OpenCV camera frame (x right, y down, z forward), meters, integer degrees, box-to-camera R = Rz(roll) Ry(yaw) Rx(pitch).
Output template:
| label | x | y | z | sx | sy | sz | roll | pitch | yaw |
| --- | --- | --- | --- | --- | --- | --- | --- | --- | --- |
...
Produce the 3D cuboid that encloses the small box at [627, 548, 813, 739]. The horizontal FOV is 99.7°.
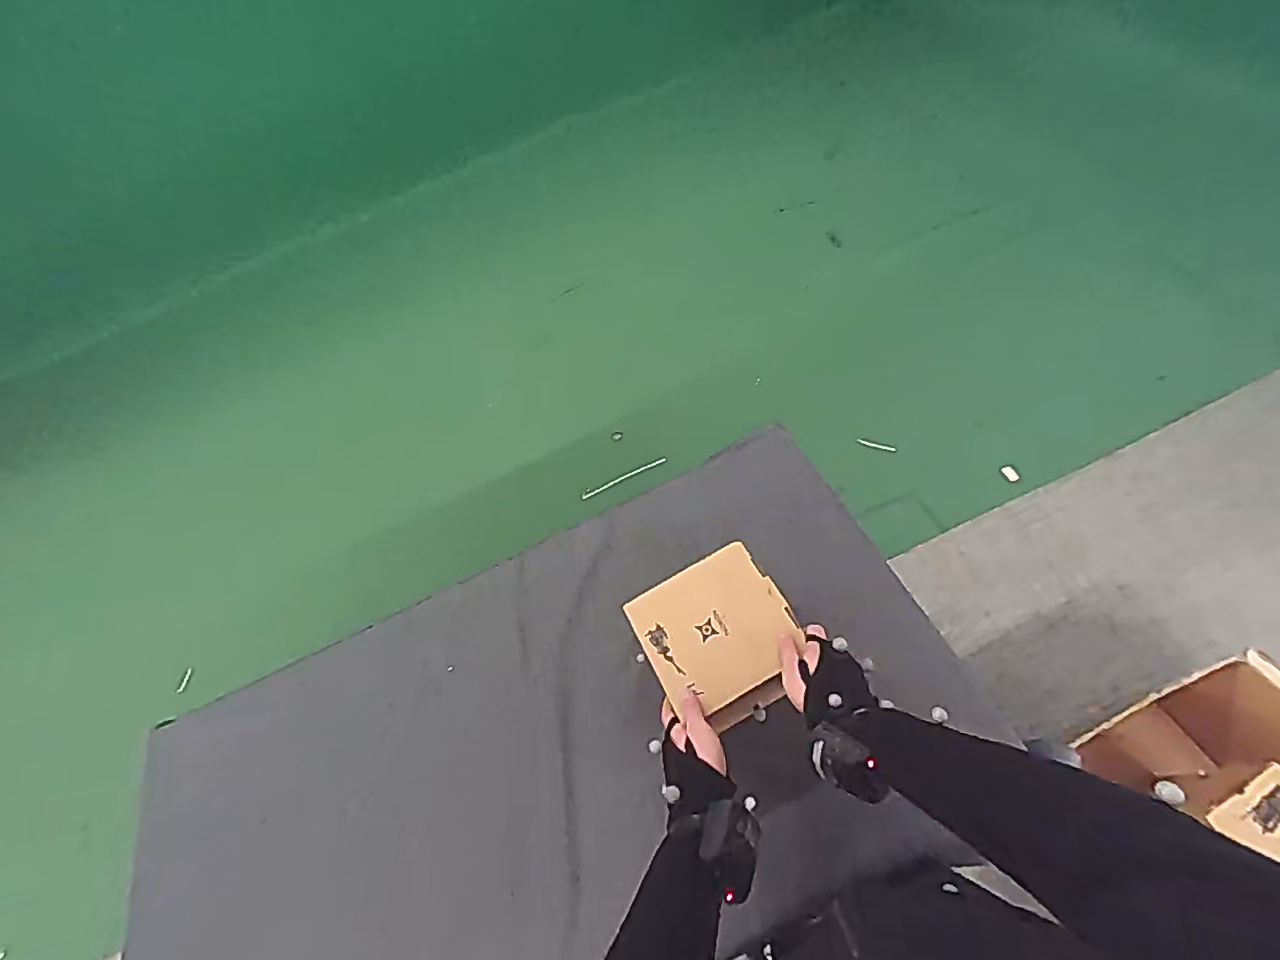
| label | x | y | z | sx | sy | sz | roll | pitch | yaw |
| --- | --- | --- | --- | --- | --- | --- | --- | --- | --- |
| small box | 0.107 | 0.225 | 0.732 | 0.179 | 0.176 | 0.168 | -31 | 59 | -5 |
